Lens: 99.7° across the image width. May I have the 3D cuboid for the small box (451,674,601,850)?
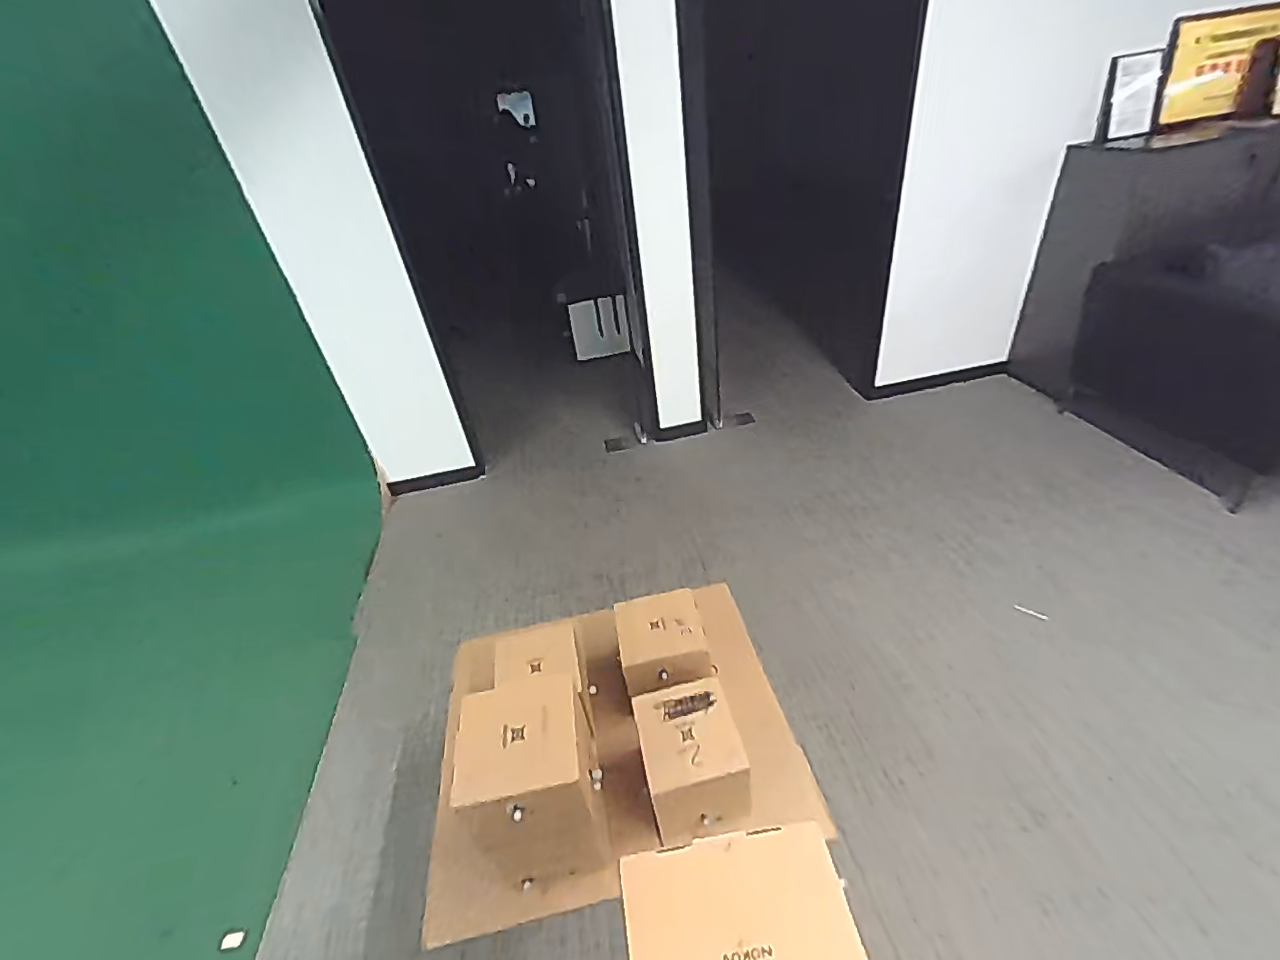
[{"bbox_3d":[-0.164,0.429,0.822,0.179,0.176,0.168,-11,37,-2],"label":"small box"}]

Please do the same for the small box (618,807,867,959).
[{"bbox_3d":[0.080,0.395,0.425,0.168,0.176,0.179,-8,40,-5],"label":"small box"}]

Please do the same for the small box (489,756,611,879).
[{"bbox_3d":[-0.150,0.552,0.929,0.168,0.176,0.179,-12,35,-3],"label":"small box"}]

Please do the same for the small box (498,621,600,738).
[{"bbox_3d":[-0.185,0.427,1.111,0.168,0.176,0.179,-14,35,-4],"label":"small box"}]
